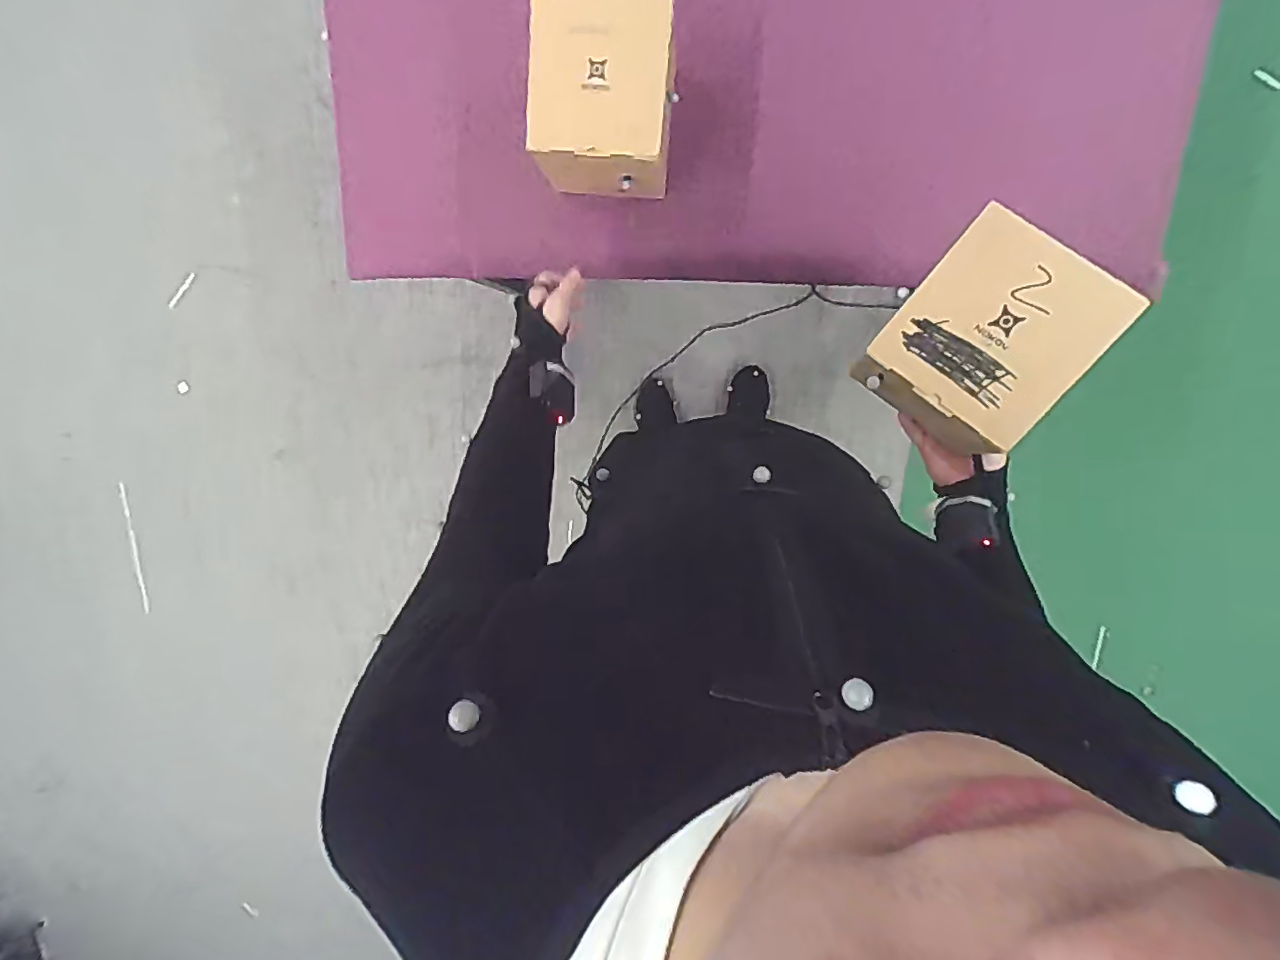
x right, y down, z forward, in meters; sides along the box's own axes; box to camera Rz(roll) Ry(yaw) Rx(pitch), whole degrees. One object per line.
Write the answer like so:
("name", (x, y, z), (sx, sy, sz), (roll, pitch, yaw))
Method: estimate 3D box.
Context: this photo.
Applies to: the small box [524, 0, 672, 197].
("small box", (-0.048, -0.495, 0.719), (0.168, 0.176, 0.179), (6, 103, 2))
